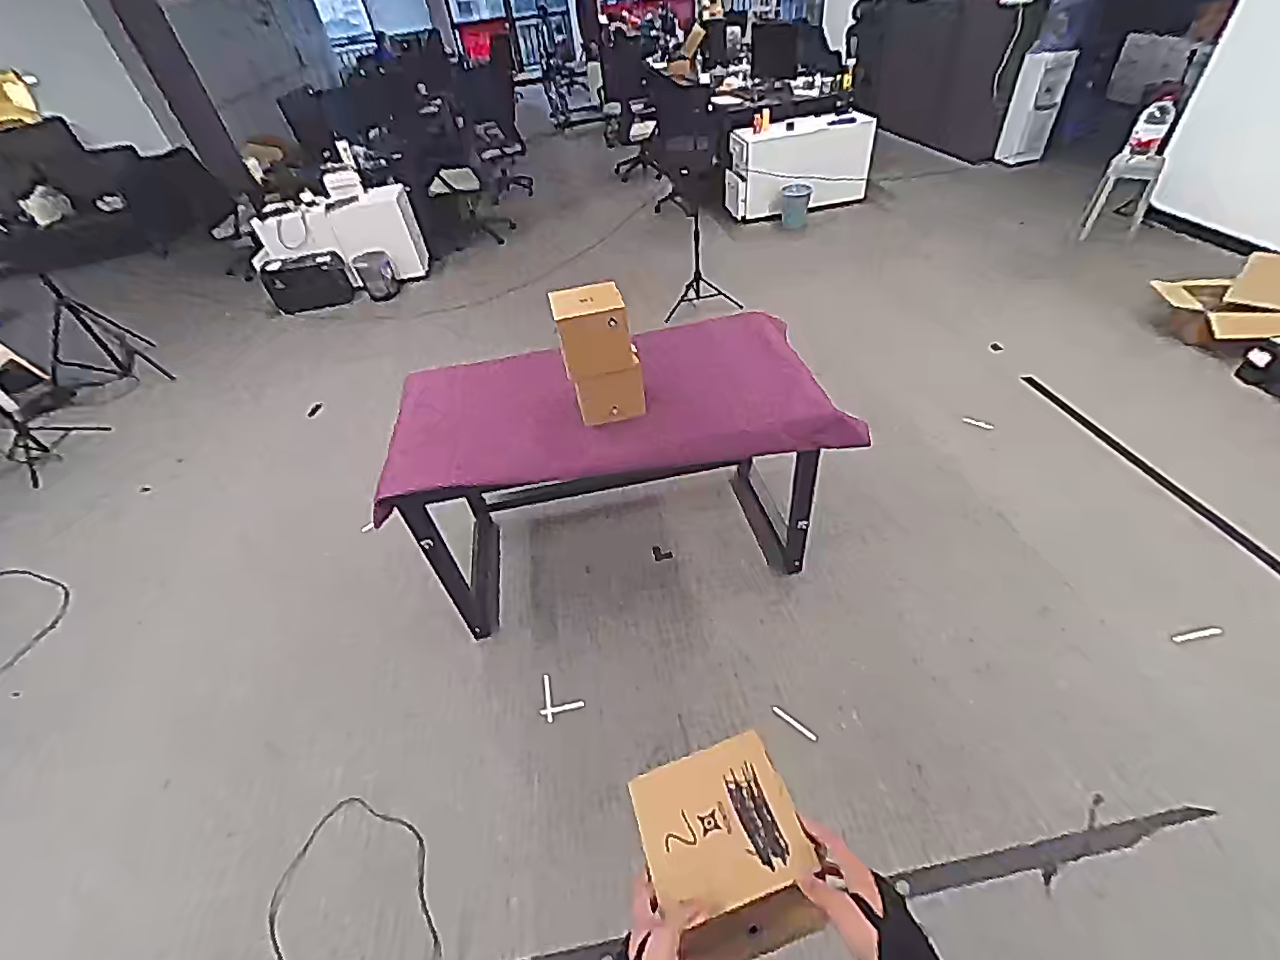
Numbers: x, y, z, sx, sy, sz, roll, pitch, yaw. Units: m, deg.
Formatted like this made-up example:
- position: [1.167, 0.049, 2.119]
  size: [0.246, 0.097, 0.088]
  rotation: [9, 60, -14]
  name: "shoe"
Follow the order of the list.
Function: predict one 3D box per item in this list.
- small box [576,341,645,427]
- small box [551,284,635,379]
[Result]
- position: [-0.085, -0.269, 1.505]
  size: [0.179, 0.176, 0.168]
  rotation: [-13, 42, -6]
  name: "small box"
- position: [-0.119, -0.378, 1.386]
  size: [0.179, 0.176, 0.168]
  rotation: [-13, 42, -5]
  name: "small box"
